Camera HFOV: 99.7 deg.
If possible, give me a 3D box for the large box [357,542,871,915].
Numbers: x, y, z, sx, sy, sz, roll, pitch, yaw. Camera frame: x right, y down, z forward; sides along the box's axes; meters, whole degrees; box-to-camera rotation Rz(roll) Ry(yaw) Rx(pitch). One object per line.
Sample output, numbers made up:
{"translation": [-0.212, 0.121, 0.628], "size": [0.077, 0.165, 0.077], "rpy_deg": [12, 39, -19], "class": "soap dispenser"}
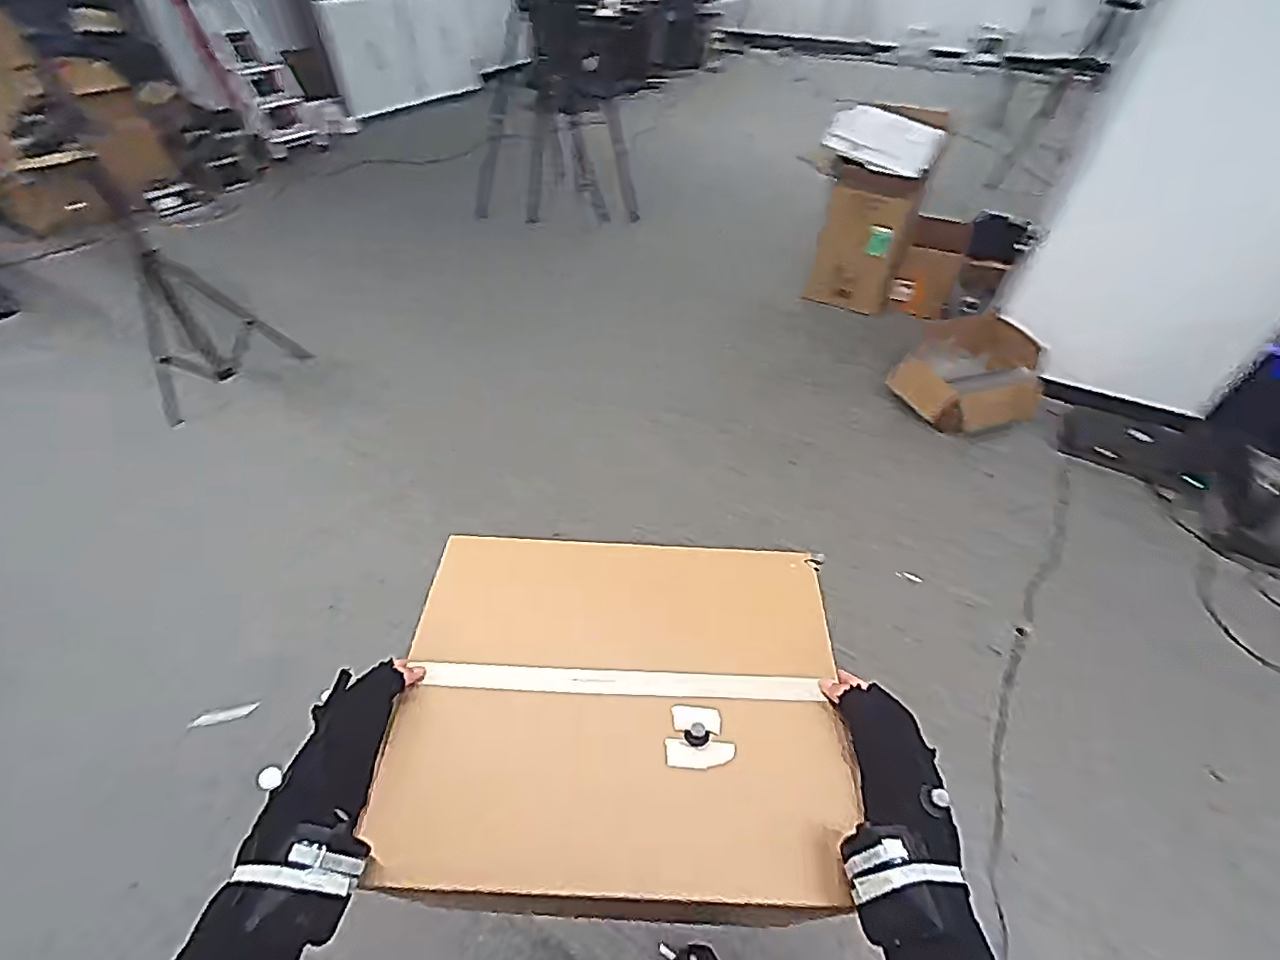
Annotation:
{"translation": [-0.024, 0.290, 0.619], "size": [0.408, 0.320, 0.320], "rpy_deg": [3, 49, -1], "class": "large box"}
